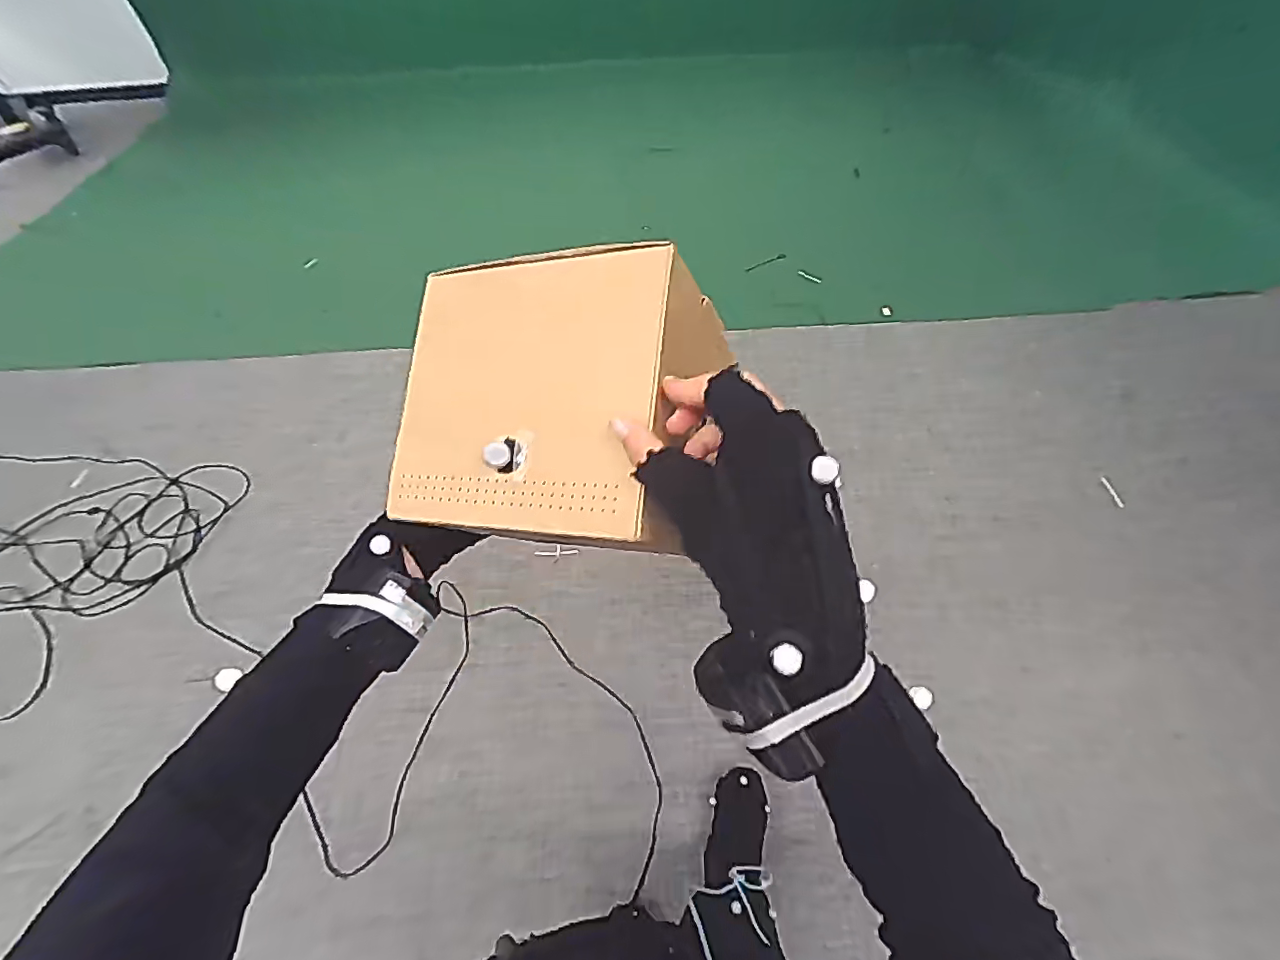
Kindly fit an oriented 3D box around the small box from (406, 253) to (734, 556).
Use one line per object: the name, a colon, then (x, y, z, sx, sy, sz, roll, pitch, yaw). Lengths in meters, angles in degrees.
small box: (-0.039, -0.038, 0.401, 0.179, 0.168, 0.176, 2, 78, 22)
